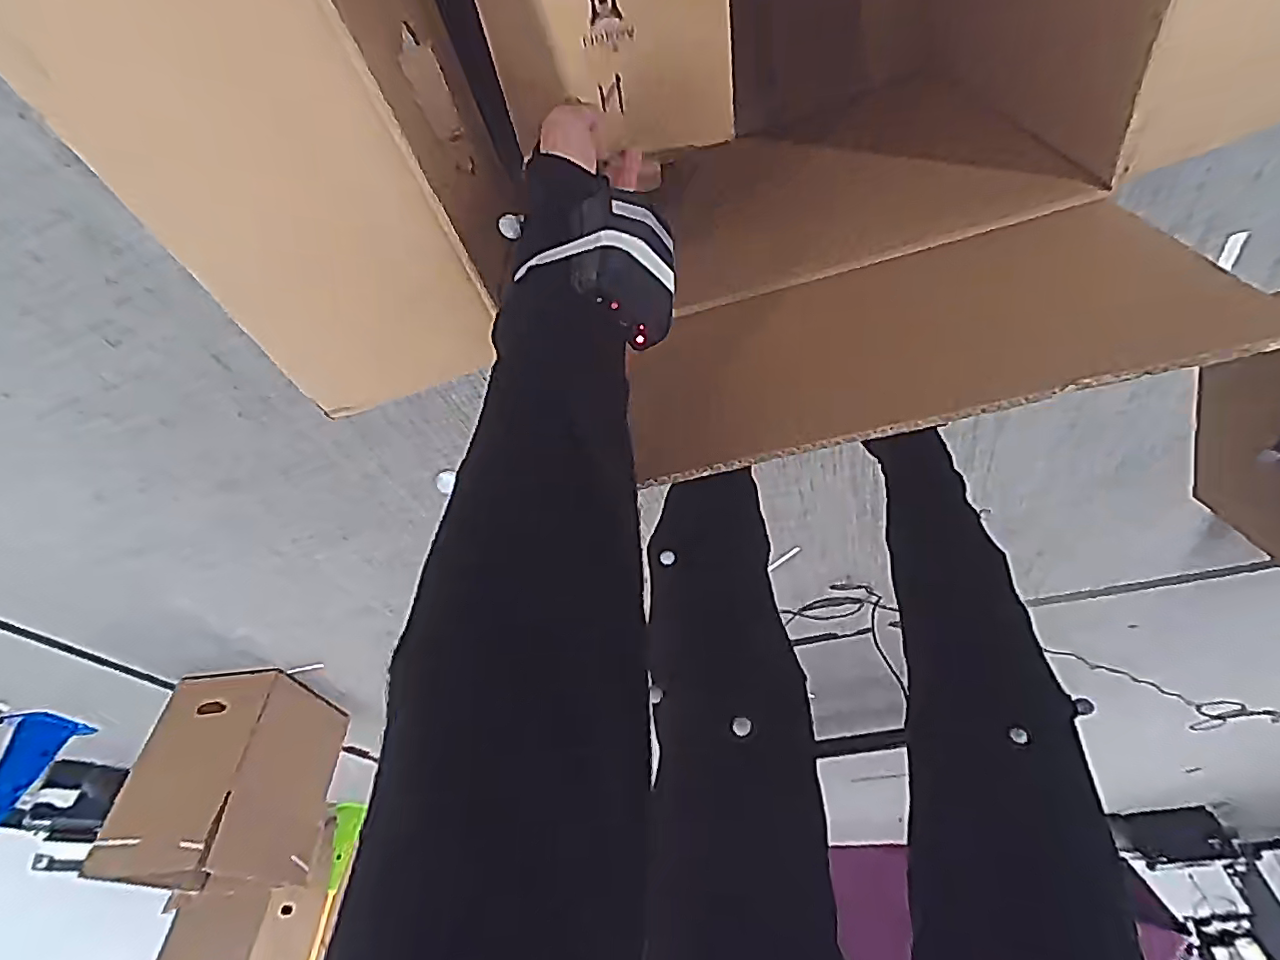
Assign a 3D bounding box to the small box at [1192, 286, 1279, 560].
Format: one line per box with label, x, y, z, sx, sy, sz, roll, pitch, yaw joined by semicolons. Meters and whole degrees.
small box;0.515;-0.037;0.352;0.168;0.176;0.179;-14;115;20
